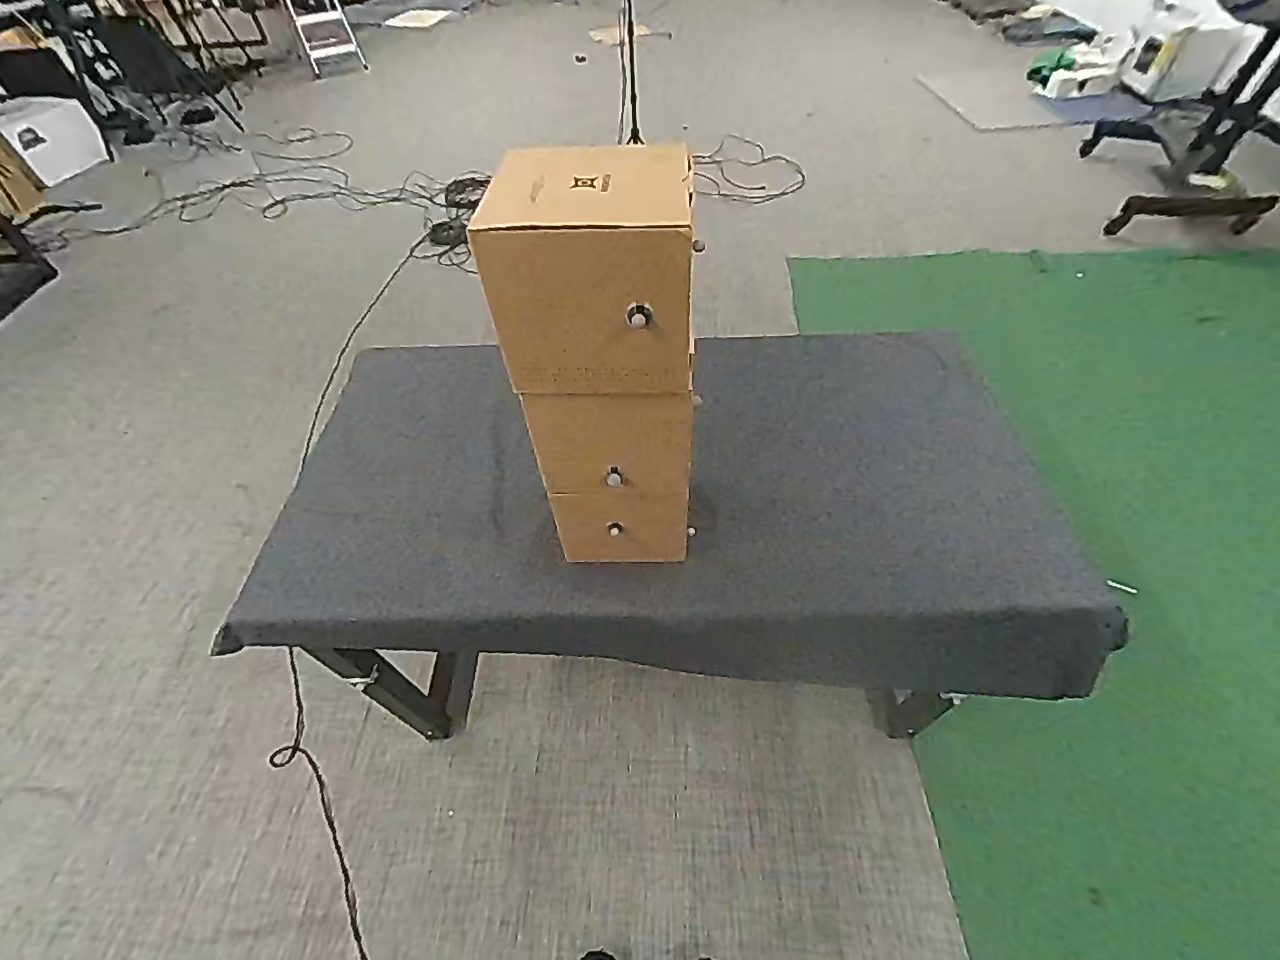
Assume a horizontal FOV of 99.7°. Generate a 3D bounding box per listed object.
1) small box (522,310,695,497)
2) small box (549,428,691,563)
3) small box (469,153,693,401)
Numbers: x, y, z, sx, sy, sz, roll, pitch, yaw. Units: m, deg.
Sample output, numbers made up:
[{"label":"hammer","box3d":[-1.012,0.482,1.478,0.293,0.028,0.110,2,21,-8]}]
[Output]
[{"label":"small box","box3d":[-0.027,-0.092,0.654,0.179,0.176,0.168,0,50,3]},{"label":"small box","box3d":[-0.019,0.007,0.780,0.179,0.176,0.168,2,49,5]},{"label":"small box","box3d":[-0.039,-0.191,0.525,0.179,0.176,0.168,-1,49,5]}]
